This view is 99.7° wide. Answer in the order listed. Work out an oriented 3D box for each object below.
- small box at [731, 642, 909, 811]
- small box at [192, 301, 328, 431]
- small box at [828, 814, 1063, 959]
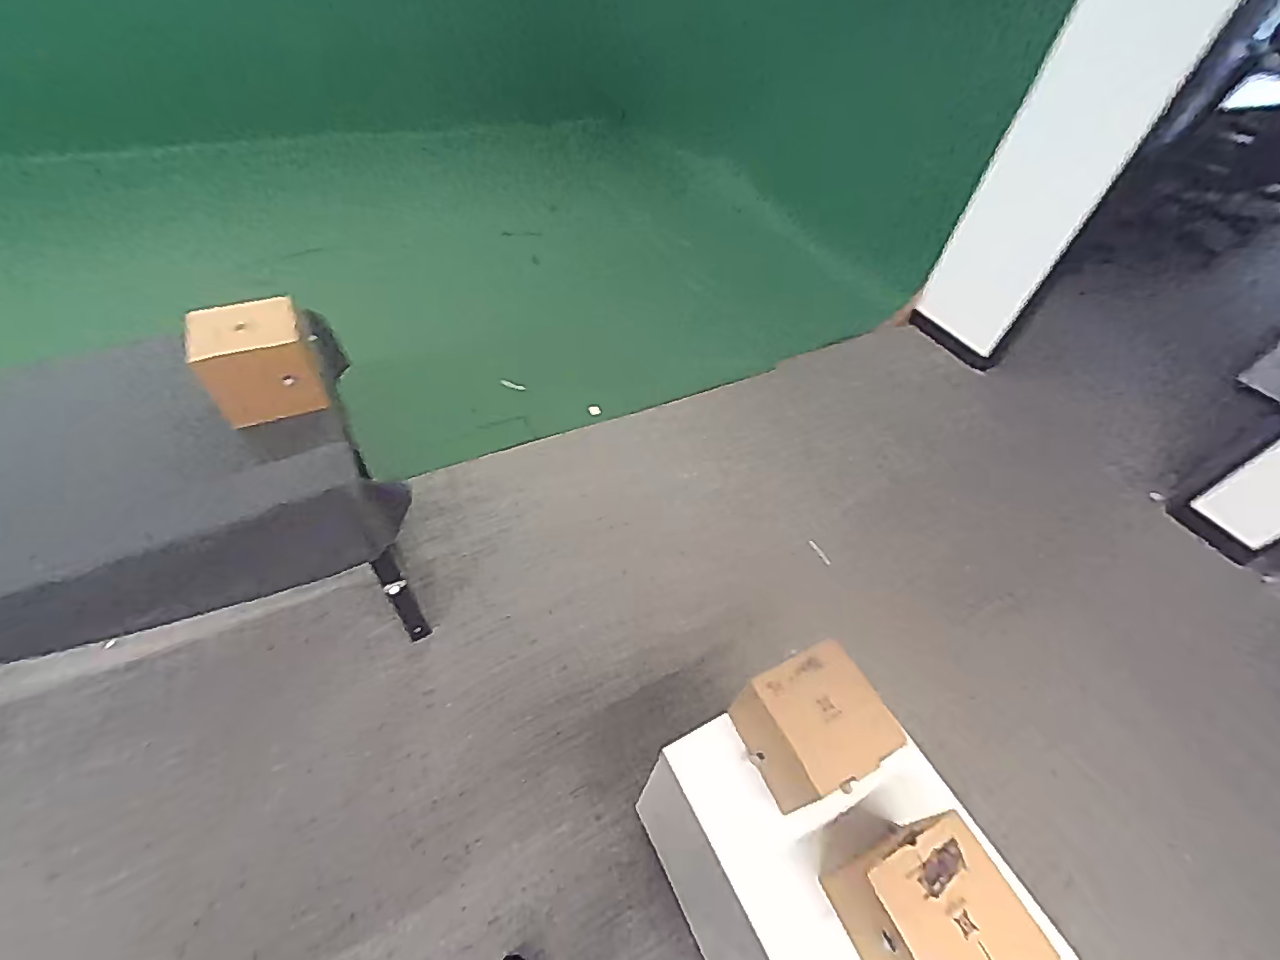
[{"bbox_3d":[0.268,0.390,0.846,0.168,0.176,0.179,-19,57,-20],"label":"small box"},{"bbox_3d":[-0.746,-0.225,1.077,0.179,0.176,0.168,-20,54,-19],"label":"small box"},{"bbox_3d":[0.379,0.576,0.704,0.168,0.176,0.179,-18,55,-19],"label":"small box"}]
